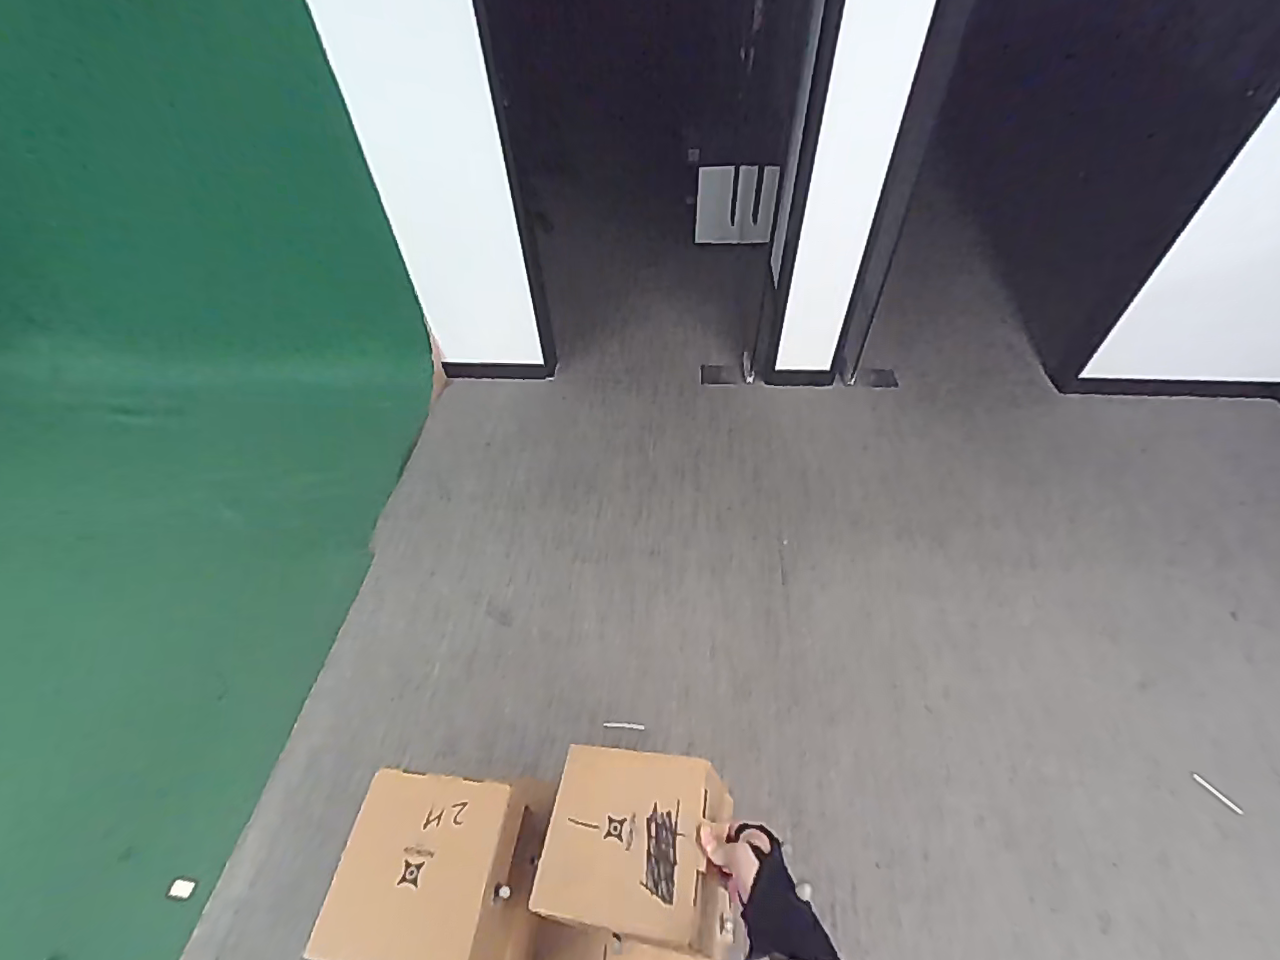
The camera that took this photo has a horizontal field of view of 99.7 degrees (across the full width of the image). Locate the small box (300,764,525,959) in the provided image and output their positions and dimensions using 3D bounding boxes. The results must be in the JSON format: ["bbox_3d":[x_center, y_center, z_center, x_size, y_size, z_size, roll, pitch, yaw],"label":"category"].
[{"bbox_3d":[-0.244,0.463,0.639,0.168,0.176,0.179,6,49,5],"label":"small box"}]

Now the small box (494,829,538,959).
[{"bbox_3d":[-0.243,0.581,0.753,0.168,0.176,0.179,4,49,4],"label":"small box"}]

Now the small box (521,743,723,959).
[{"bbox_3d":[-0.005,0.434,0.635,0.179,0.176,0.168,-2,45,20],"label":"small box"}]

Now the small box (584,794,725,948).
[{"bbox_3d":[0.025,0.552,0.772,0.179,0.176,0.168,1,47,5],"label":"small box"}]
